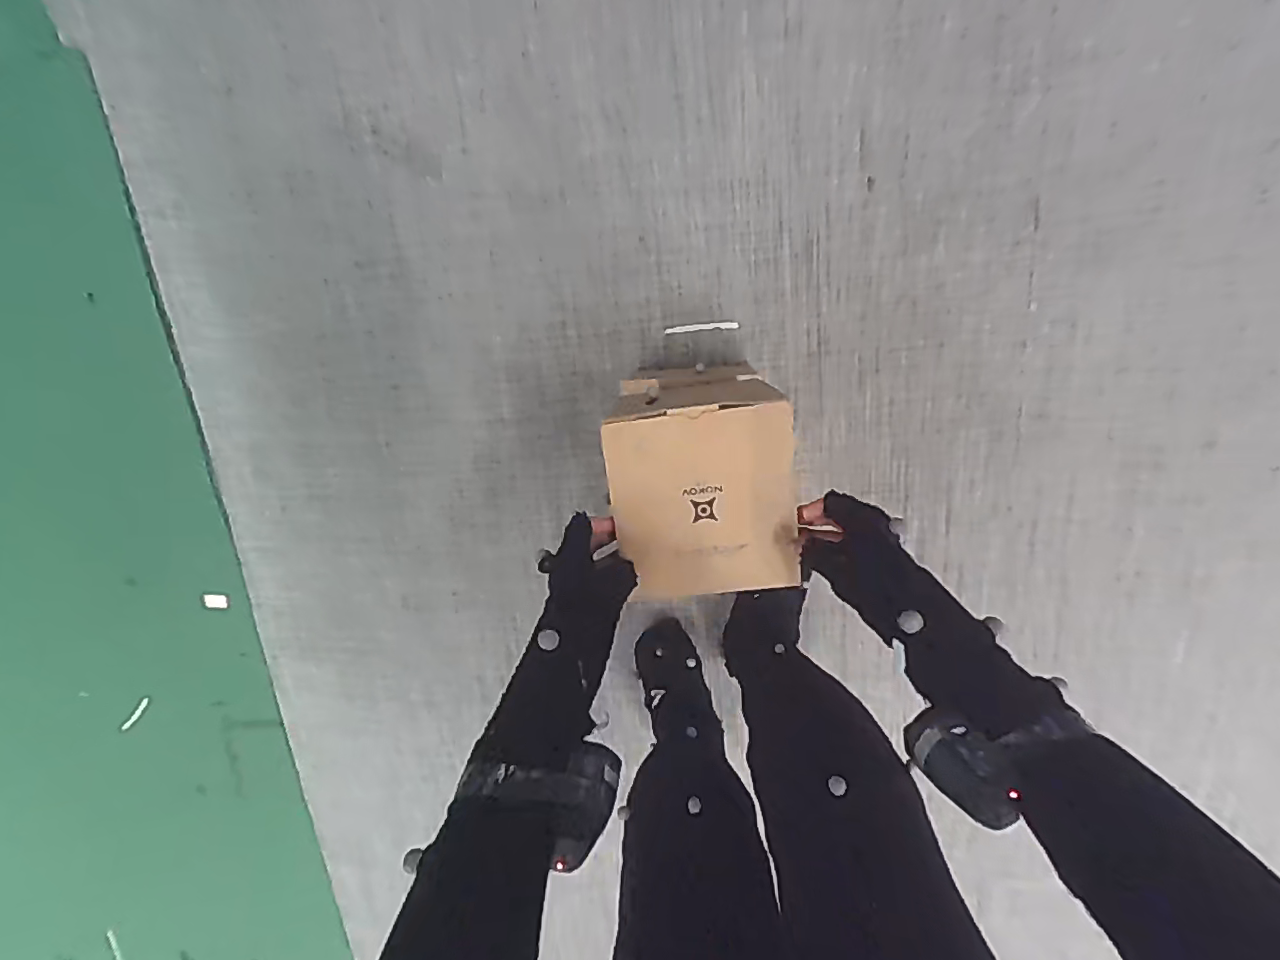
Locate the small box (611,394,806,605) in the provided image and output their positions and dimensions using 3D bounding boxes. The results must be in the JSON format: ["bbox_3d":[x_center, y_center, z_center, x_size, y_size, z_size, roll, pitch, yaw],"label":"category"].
[{"bbox_3d":[0.069,0.008,0.571,0.168,0.176,0.179,-7,105,7],"label":"small box"}]

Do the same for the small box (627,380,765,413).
[{"bbox_3d":[0.083,-0.053,0.773,0.179,0.176,0.168,-1,103,9],"label":"small box"}]
